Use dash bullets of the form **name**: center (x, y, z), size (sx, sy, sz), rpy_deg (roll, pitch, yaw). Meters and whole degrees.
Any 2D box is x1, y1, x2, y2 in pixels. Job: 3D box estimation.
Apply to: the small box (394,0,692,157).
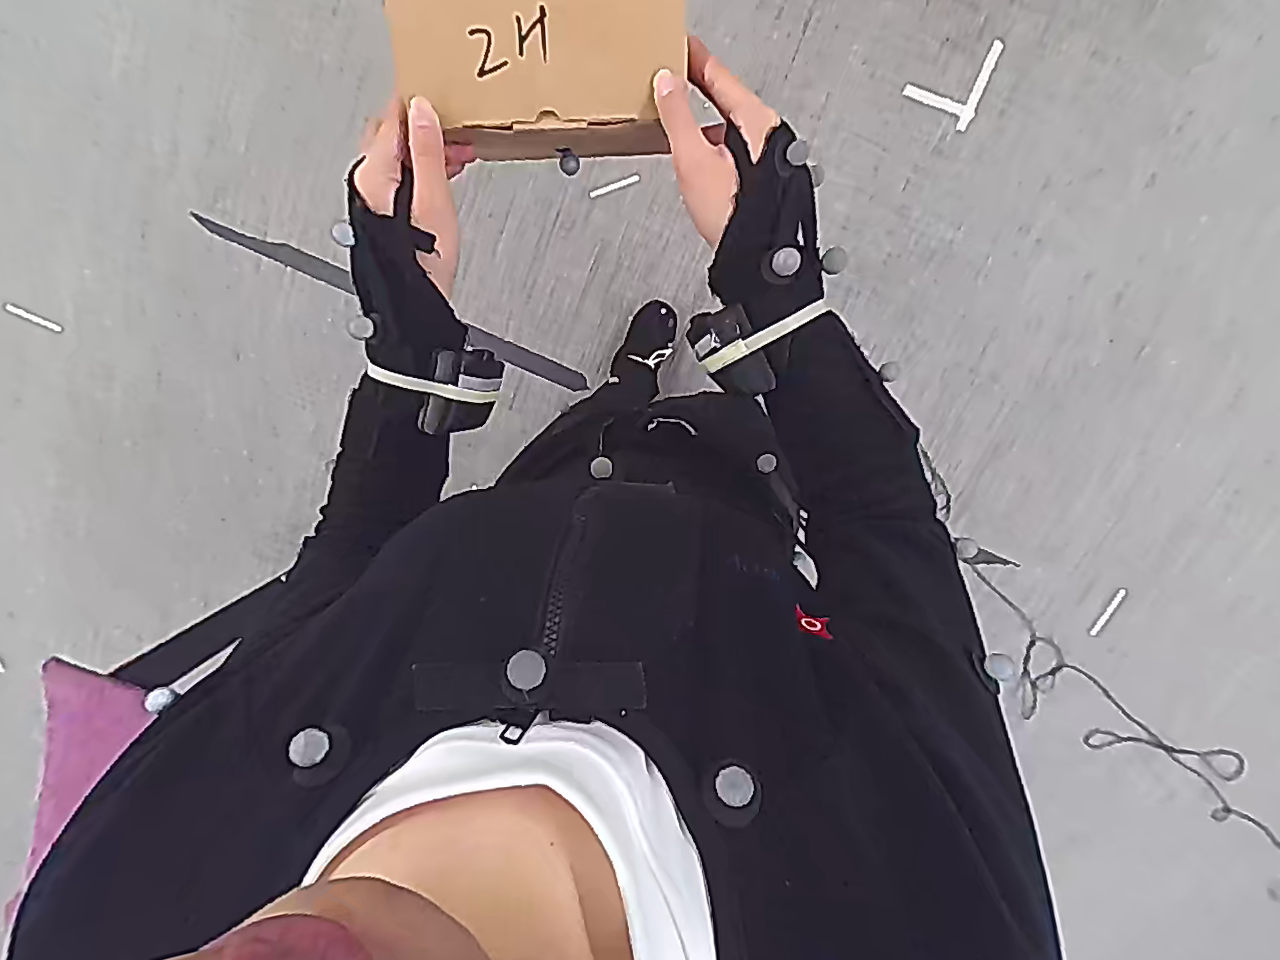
- **small box**: center (-0.055, -0.328, 0.356), size (0.168, 0.176, 0.179), rpy_deg (-1, 114, 0)
